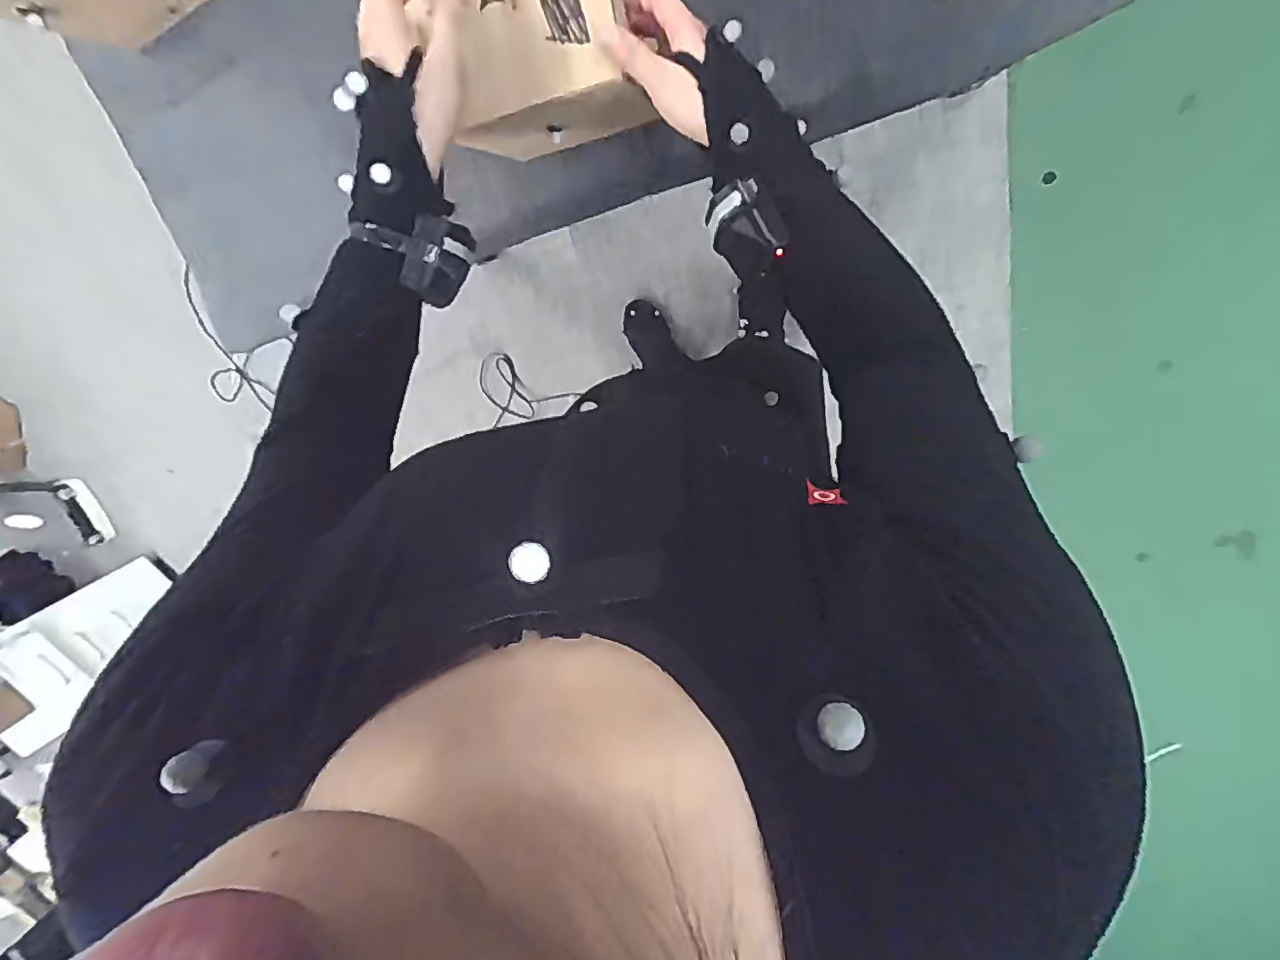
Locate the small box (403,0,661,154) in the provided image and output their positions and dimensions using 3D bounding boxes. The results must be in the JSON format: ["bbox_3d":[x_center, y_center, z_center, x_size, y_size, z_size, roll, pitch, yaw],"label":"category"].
[{"bbox_3d":[-0.086,-0.412,0.487,0.179,0.176,0.168,-5,113,19],"label":"small box"}]
